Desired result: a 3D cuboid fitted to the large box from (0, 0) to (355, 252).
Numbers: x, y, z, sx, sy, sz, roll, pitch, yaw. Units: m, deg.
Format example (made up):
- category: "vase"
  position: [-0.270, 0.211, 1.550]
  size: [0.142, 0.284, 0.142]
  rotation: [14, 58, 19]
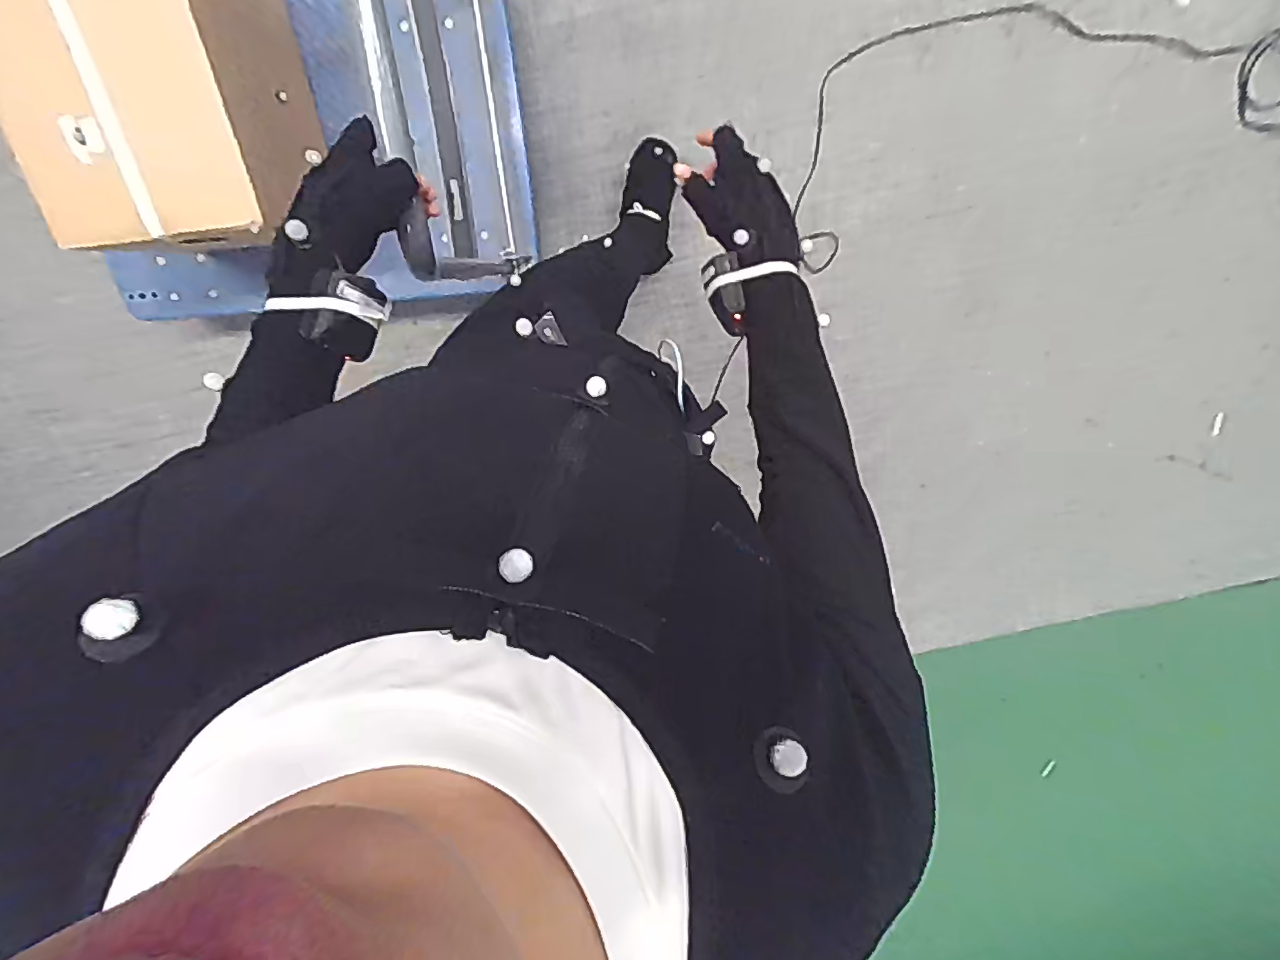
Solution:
- category: "large box"
  position: [-0.735, -0.609, 0.885]
  size: [0.320, 0.320, 0.408]
  rotation: [-7, 113, -1]
